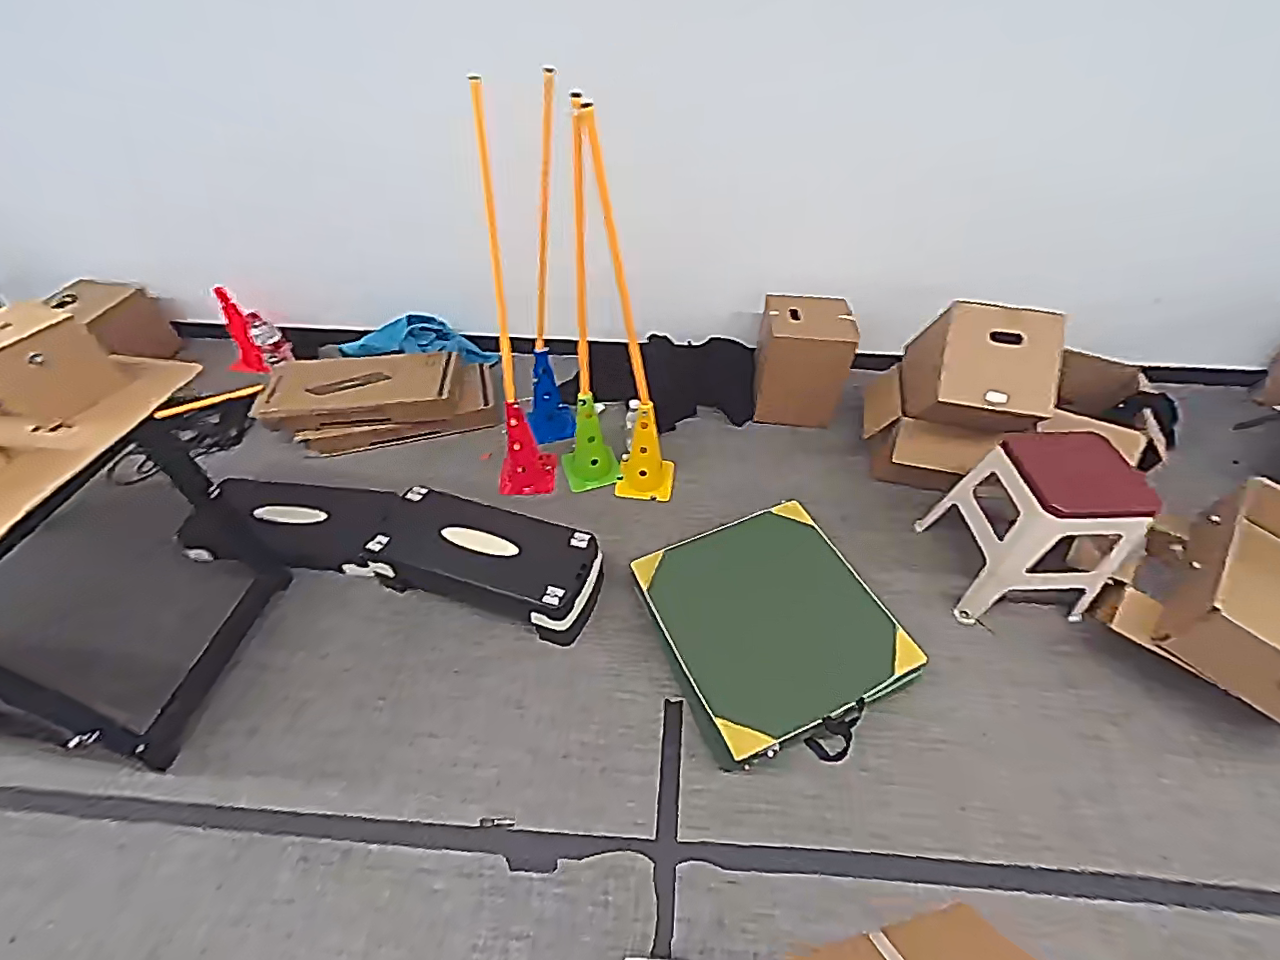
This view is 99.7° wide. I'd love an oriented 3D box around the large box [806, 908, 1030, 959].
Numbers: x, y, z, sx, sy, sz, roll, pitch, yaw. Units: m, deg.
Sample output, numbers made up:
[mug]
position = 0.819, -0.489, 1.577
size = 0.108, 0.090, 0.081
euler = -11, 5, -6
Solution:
[large box]
position = 0.410, 0.795, 0.600
size = 0.320, 0.408, 0.320
euler = -14, 79, -6
